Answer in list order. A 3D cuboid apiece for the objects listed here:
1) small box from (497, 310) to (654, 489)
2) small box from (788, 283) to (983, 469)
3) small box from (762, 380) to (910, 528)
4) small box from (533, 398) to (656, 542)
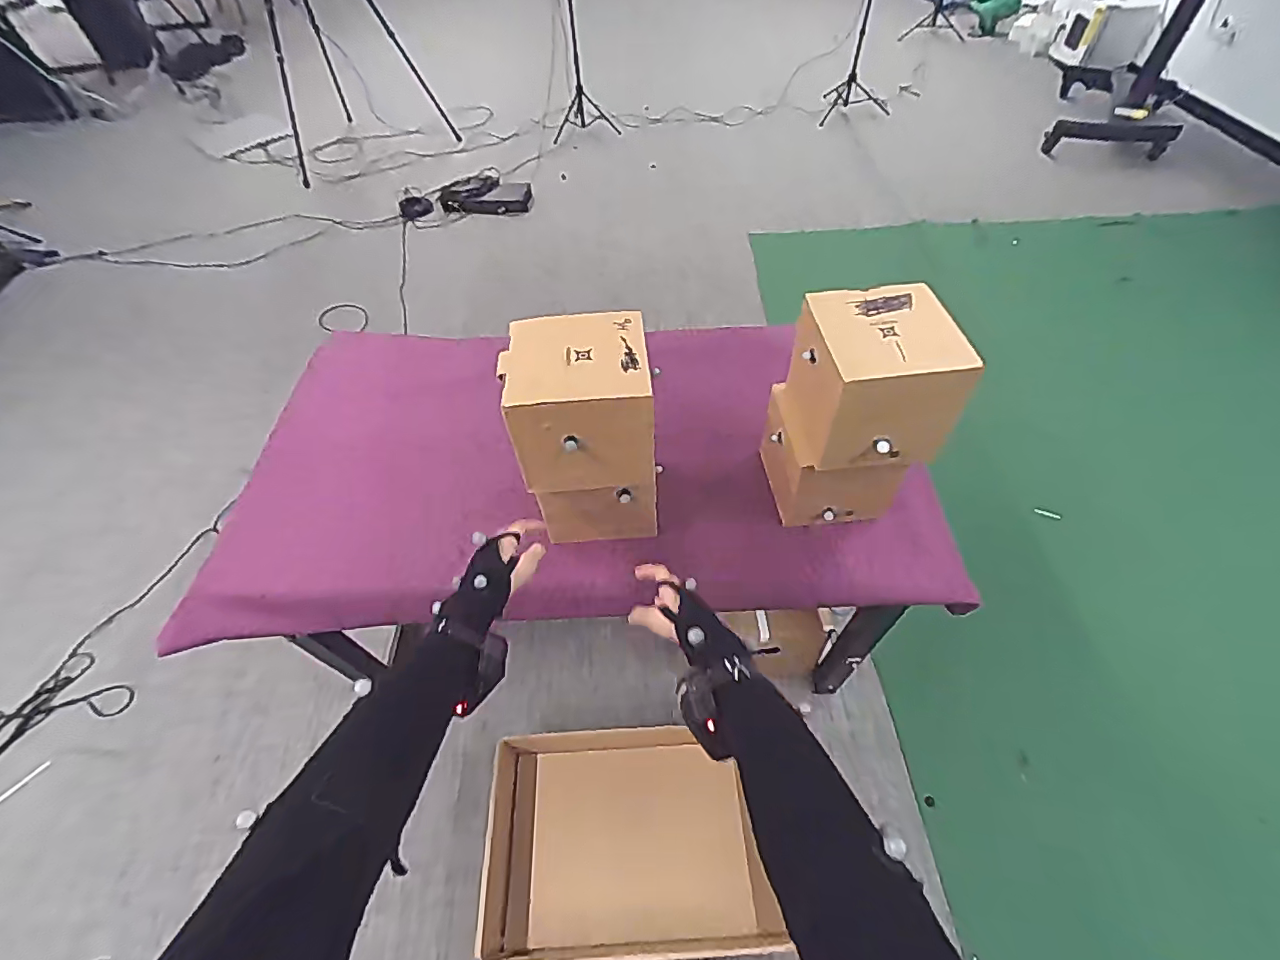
[{"bbox_3d":[-0.077,-0.101,0.721,0.179,0.176,0.168,-5,52,0],"label":"small box"},{"bbox_3d":[0.308,-0.137,0.728,0.168,0.176,0.179,-6,52,0],"label":"small box"},{"bbox_3d":[0.299,-0.045,0.865,0.168,0.176,0.179,-6,52,0],"label":"small box"},{"bbox_3d":[-0.066,-0.015,0.862,0.179,0.176,0.168,-4,51,0],"label":"small box"}]
